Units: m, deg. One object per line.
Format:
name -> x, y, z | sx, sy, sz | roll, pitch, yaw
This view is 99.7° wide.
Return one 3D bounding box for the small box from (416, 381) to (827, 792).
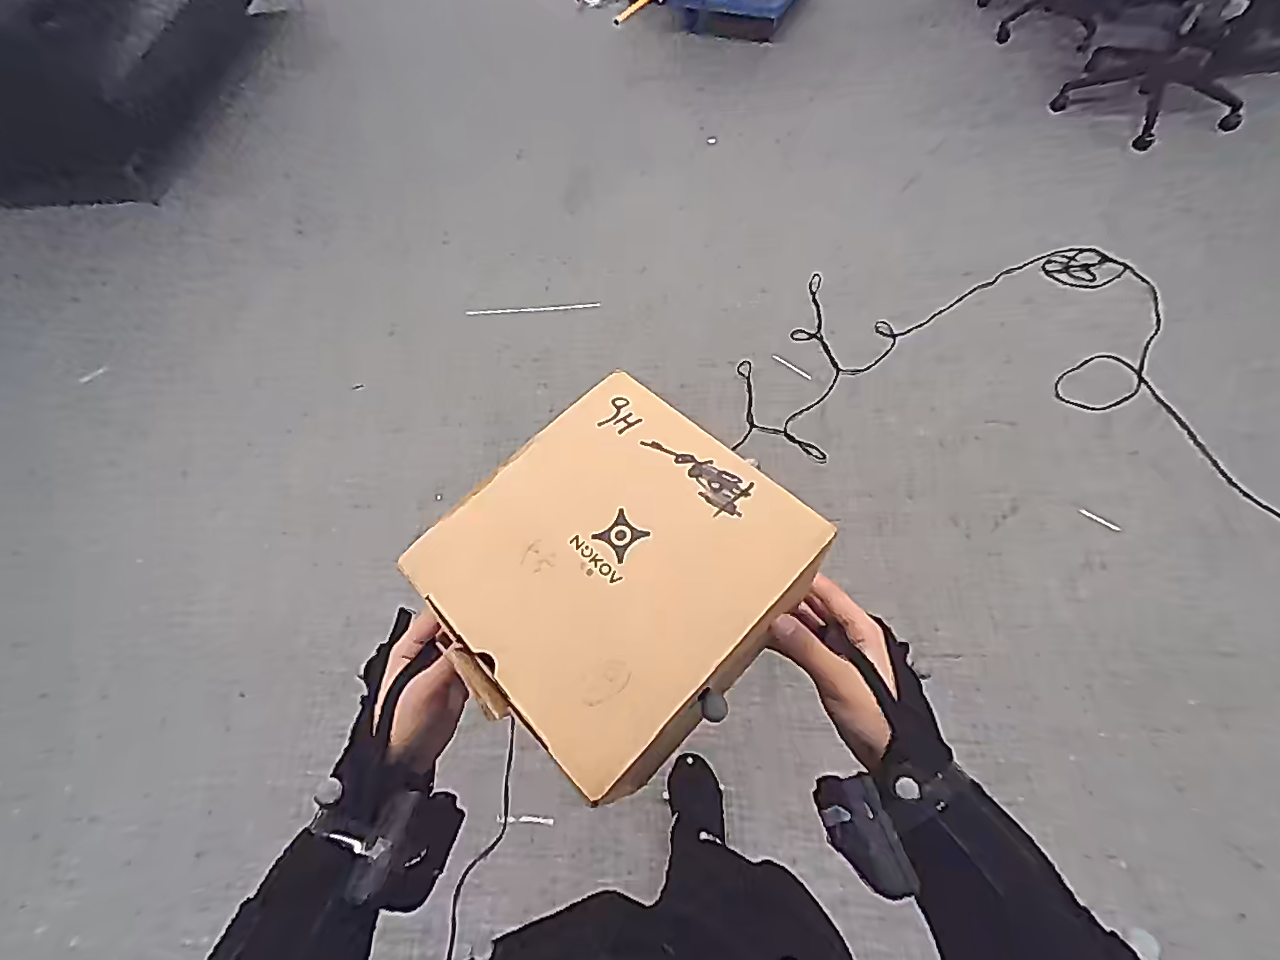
small box -> -0.004, 0.076, 0.367 | 0.179, 0.176, 0.168 | -43, 65, -15
